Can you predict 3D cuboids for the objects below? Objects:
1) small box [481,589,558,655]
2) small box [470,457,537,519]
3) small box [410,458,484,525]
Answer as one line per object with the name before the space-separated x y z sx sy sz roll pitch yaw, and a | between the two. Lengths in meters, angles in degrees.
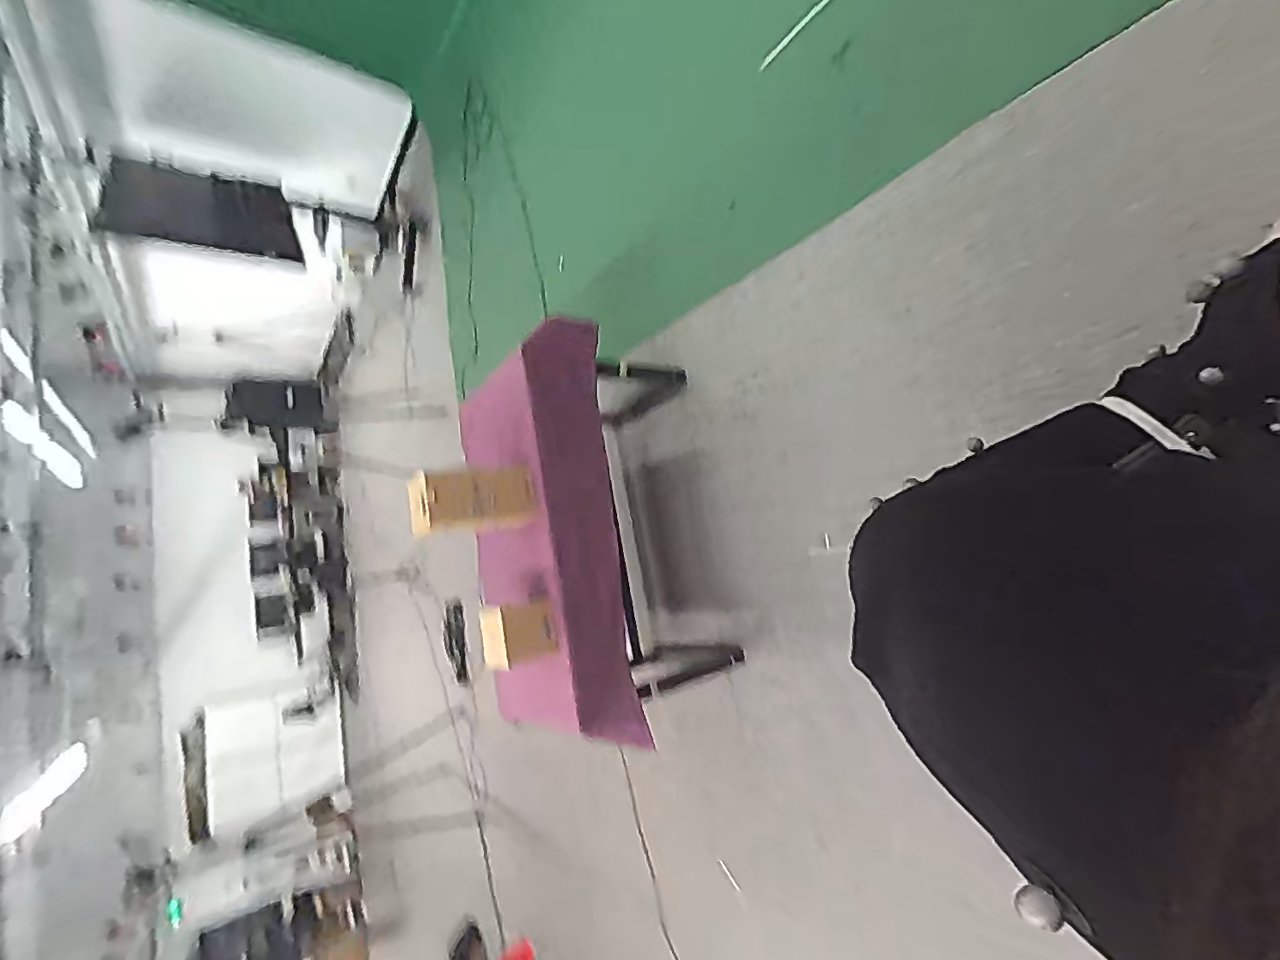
small box | -0.372 0.435 1.668 0.179 0.176 0.168 -19 78 50
small box | -0.448 0.027 1.734 0.179 0.176 0.168 -21 77 52
small box | -0.579 0.034 1.634 0.179 0.176 0.168 -22 75 51
